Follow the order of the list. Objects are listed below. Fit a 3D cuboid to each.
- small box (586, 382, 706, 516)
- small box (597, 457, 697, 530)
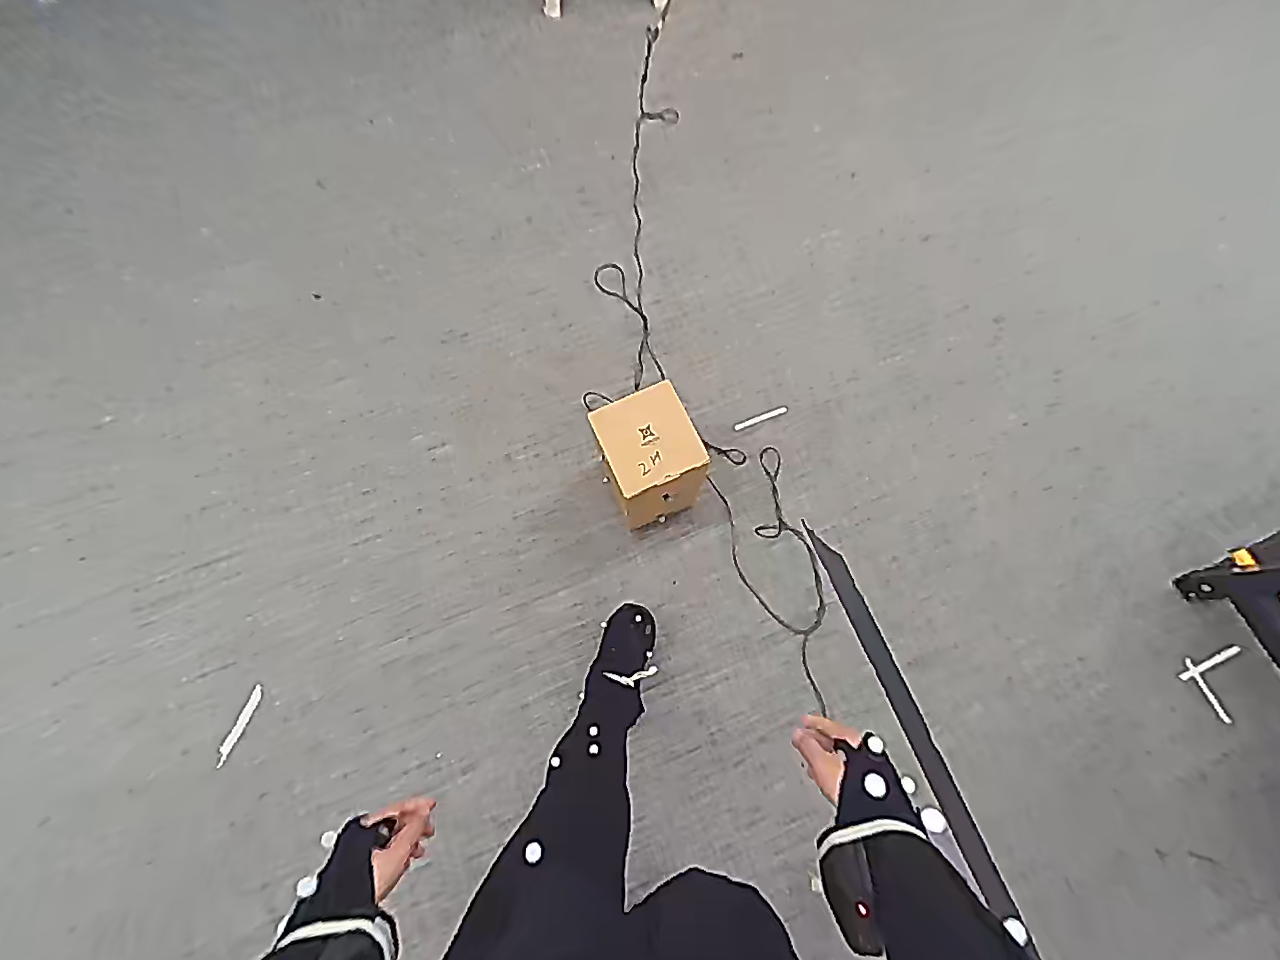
[{"bbox_3d":[0.009,-0.052,1.029,0.168,0.176,0.179,-24,76,-5],"label":"small box"},{"bbox_3d":[0.009,-0.008,1.188,0.168,0.176,0.179,-22,76,-5],"label":"small box"}]
